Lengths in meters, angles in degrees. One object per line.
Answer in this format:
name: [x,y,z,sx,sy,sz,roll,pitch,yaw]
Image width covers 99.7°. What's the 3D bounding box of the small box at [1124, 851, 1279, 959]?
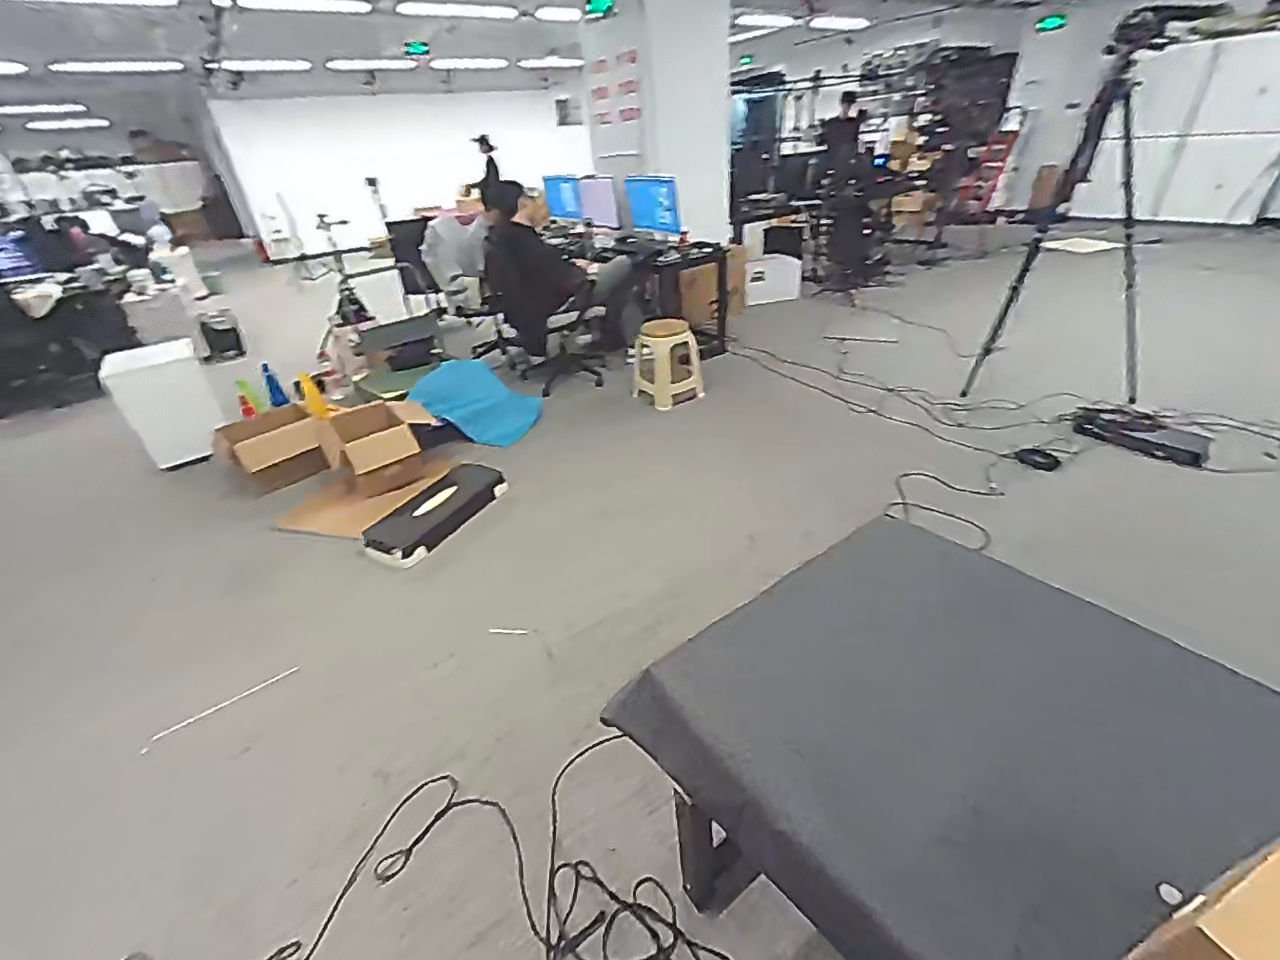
small box: [0.495,0.388,0.372,0.168,0.176,0.179,-19,38,-17]
